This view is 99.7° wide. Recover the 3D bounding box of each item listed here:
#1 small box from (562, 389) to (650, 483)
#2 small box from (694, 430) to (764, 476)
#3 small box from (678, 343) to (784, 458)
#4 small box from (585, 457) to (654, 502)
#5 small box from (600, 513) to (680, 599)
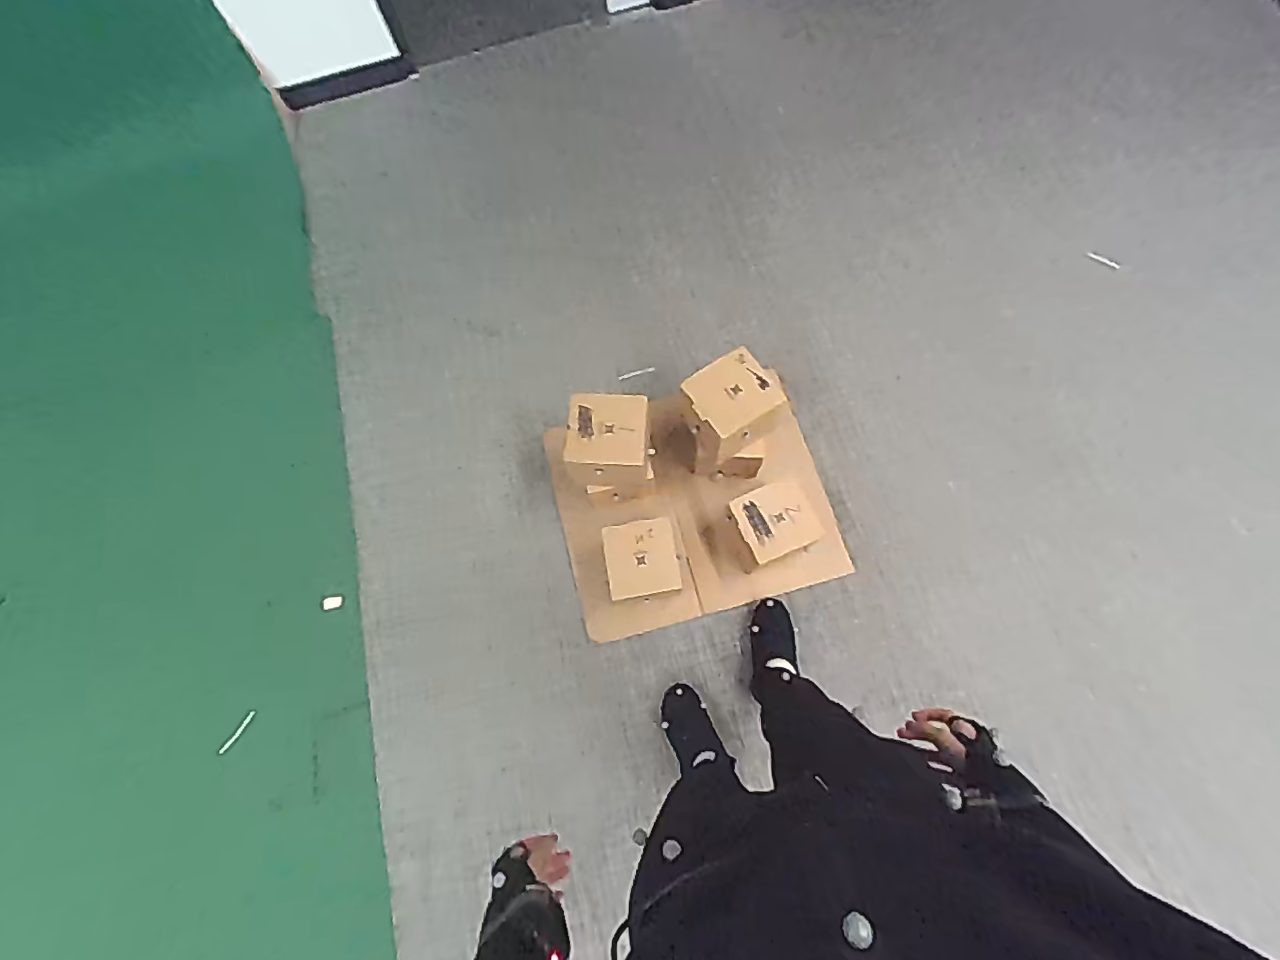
[{"bbox_3d":[-0.072,-0.096,1.248,0.179,0.176,0.168,3,73,4],"label":"small box"},{"bbox_3d":[0.227,-0.123,1.407,0.168,0.176,0.179,3,73,5],"label":"small box"},{"bbox_3d":[0.205,-0.176,1.254,0.179,0.176,0.168,-32,73,-6],"label":"small box"},{"bbox_3d":[-0.062,-0.050,1.406,0.168,0.176,0.179,-14,72,-1],"label":"small box"},{"bbox_3d":[0.004,0.193,1.325,0.168,0.176,0.179,-10,72,0],"label":"small box"}]
